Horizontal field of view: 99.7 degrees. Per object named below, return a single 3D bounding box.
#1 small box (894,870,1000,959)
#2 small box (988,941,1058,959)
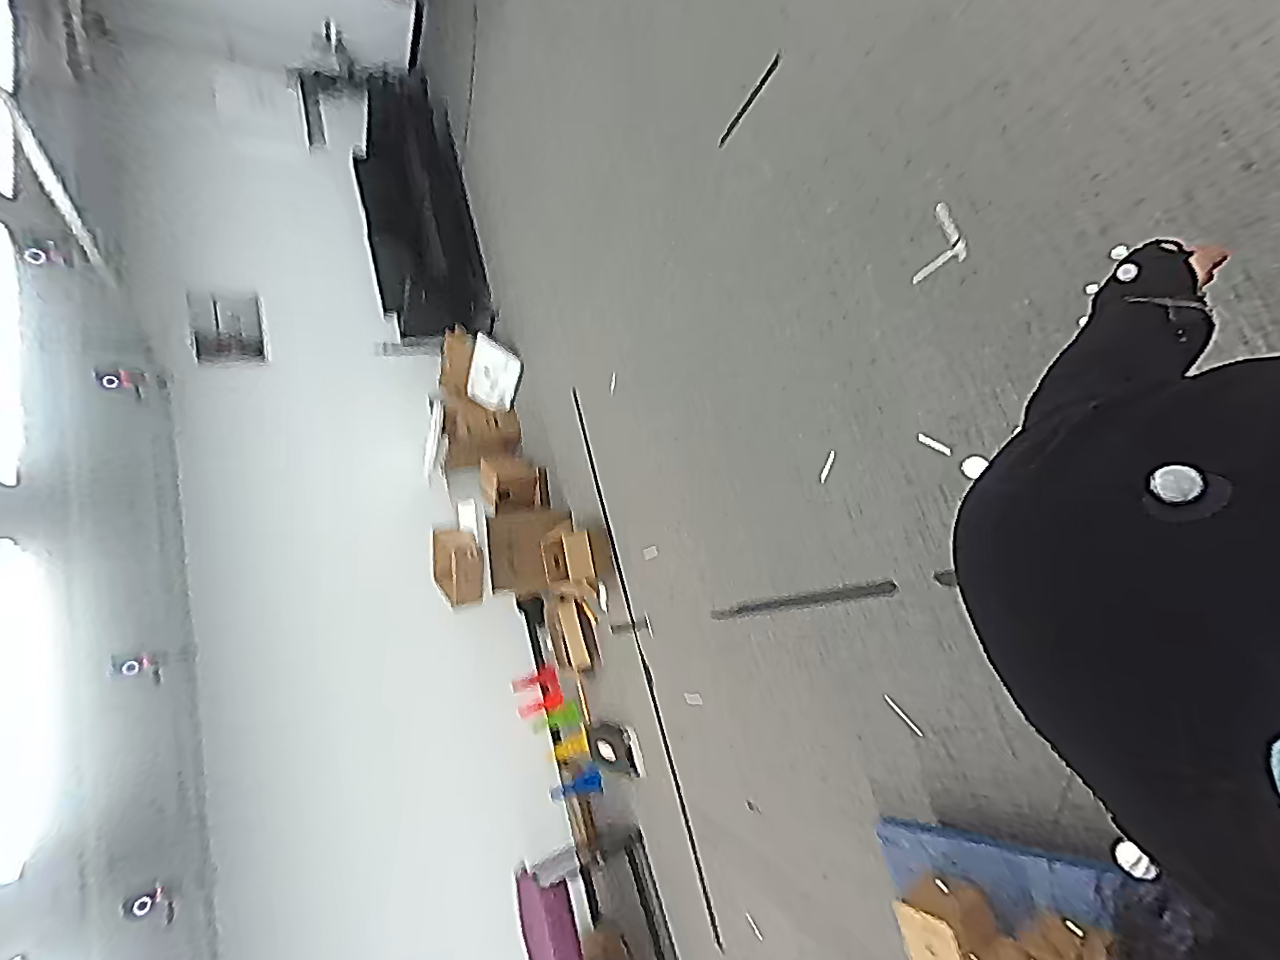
[{"bbox_3d":[0.816,1.189,1.430,0.168,0.176,0.179,-28,73,57],"label":"small box"},{"bbox_3d":[0.816,1.101,1.094,0.168,0.176,0.179,-33,68,57],"label":"small box"}]
